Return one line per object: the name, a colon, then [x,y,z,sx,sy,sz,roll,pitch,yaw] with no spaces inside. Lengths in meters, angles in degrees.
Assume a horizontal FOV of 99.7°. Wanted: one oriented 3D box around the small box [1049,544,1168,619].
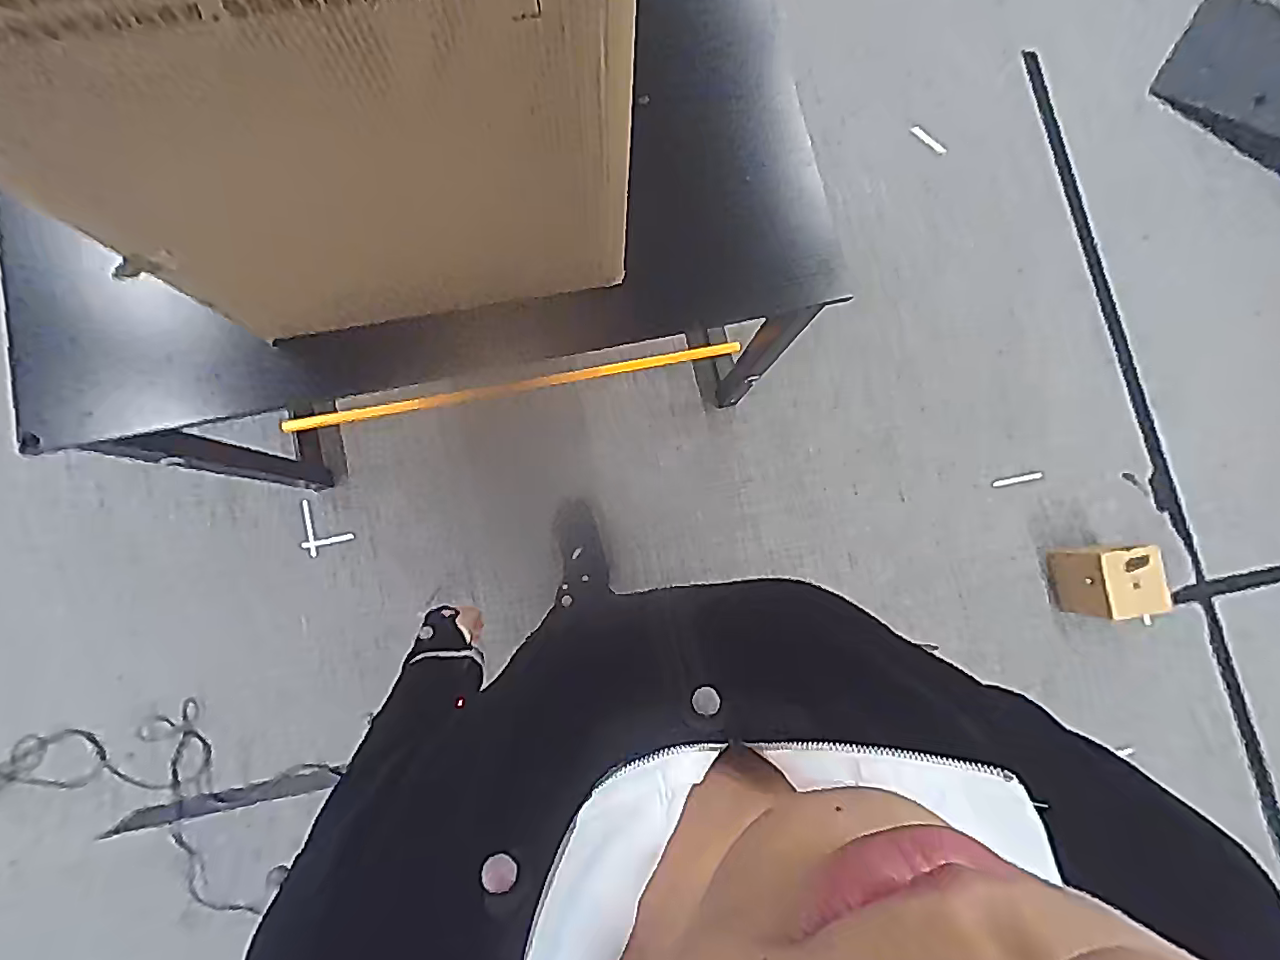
small box: [1.270,0.272,1.480,0.168,0.176,0.179,-8,85,-4]
